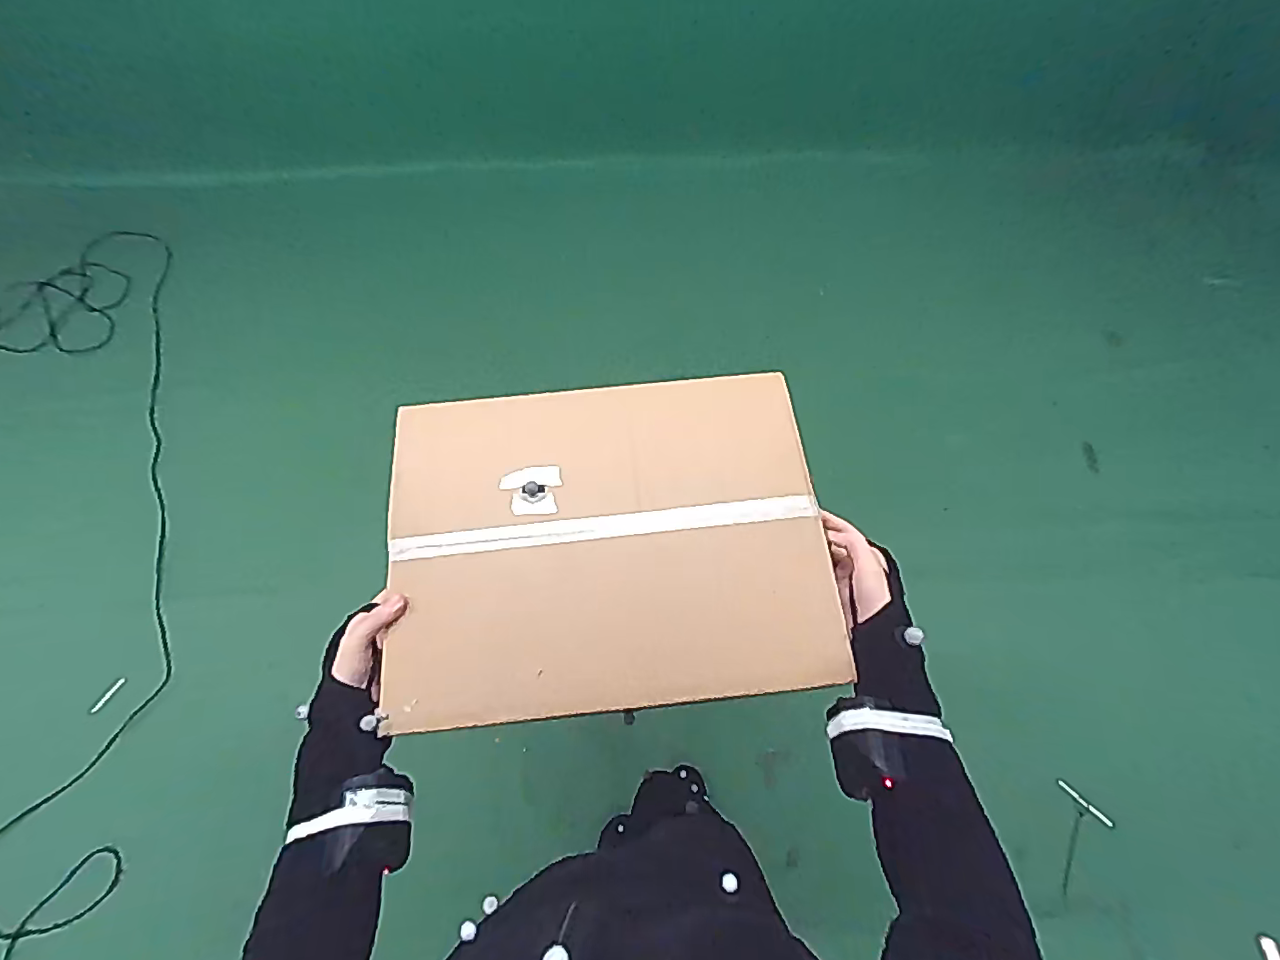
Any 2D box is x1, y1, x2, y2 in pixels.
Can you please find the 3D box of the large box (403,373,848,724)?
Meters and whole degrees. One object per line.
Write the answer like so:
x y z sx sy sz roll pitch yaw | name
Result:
-0.022 0.101 0.667 0.408 0.320 0.320 -6 68 -1 | large box
